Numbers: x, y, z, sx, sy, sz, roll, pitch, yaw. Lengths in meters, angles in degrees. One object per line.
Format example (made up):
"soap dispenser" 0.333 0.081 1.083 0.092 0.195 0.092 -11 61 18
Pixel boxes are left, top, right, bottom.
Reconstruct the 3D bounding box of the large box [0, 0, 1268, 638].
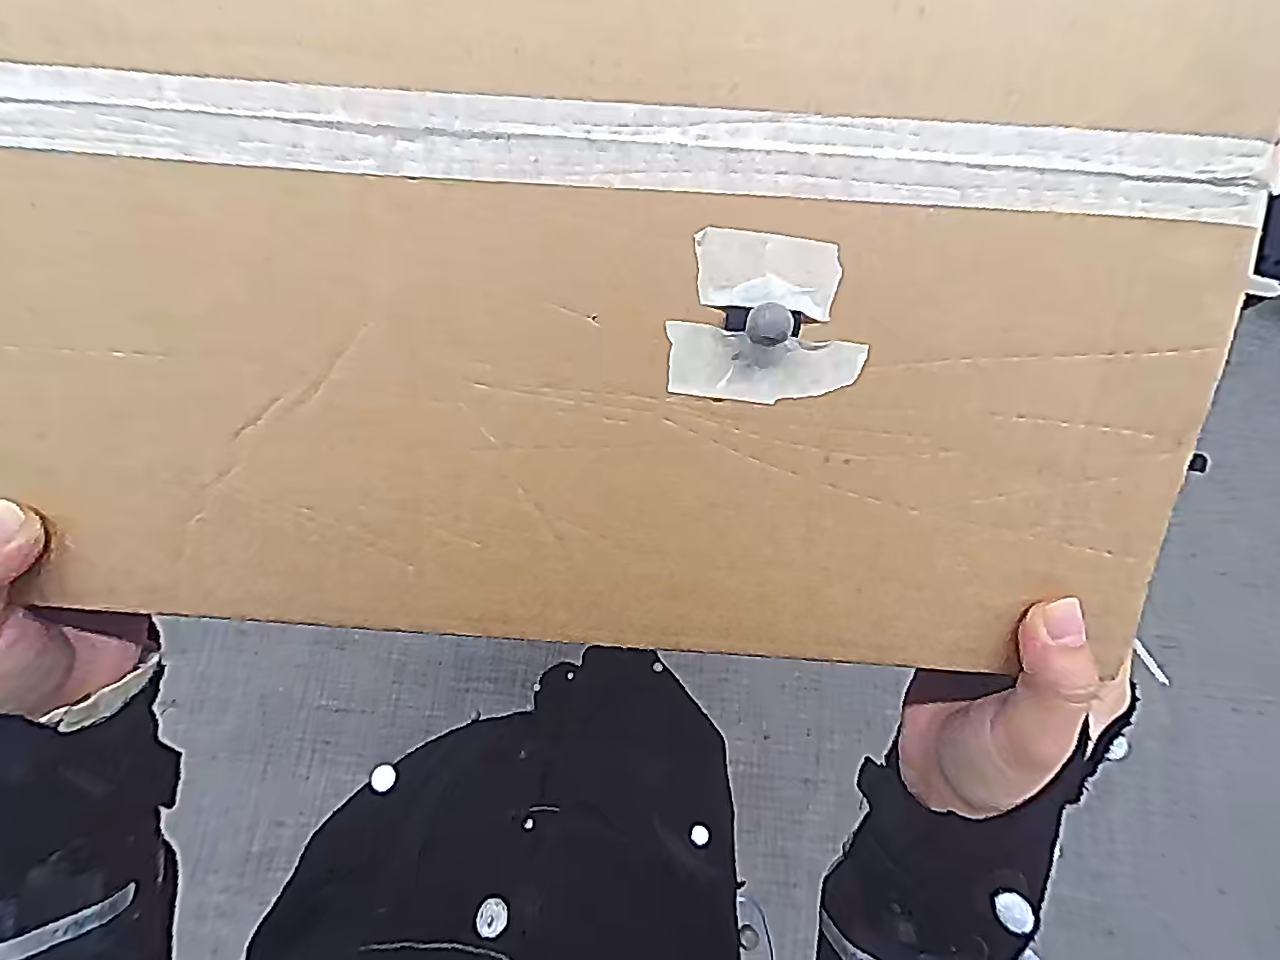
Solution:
"large box" -0.023 -0.130 0.314 0.408 0.320 0.320 4 103 -1
